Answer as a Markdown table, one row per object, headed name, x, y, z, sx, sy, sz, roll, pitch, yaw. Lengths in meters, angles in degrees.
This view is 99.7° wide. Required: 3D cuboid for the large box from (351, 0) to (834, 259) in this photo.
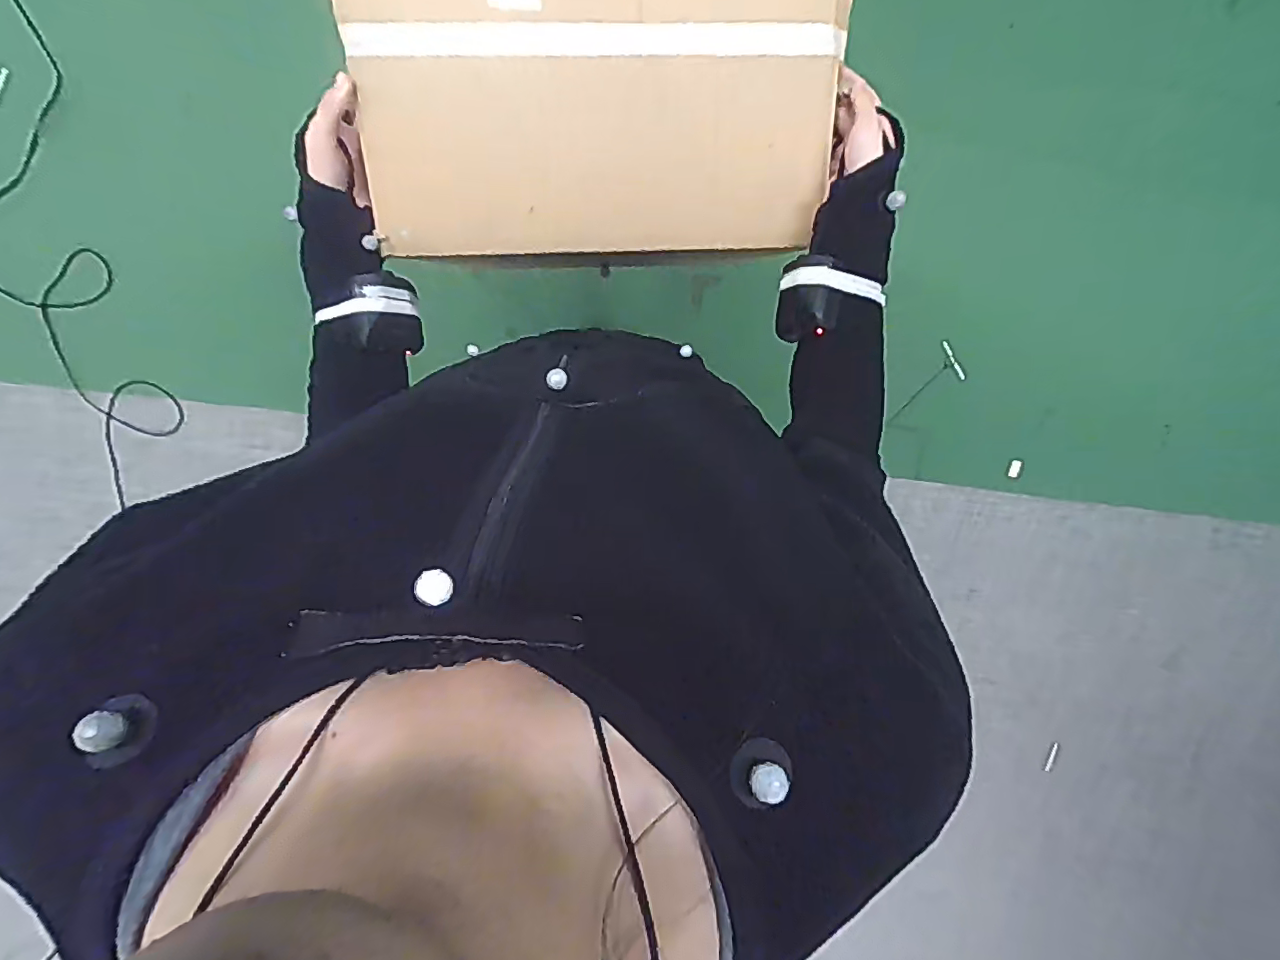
| name | x | y | z | sx | sy | sz | roll | pitch | yaw |
| --- | --- | --- | --- | --- | --- | --- | --- | --- | --- |
| large box | -0.043 | -0.416 | 0.593 | 0.408 | 0.320 | 0.320 | -2 | 110 | -4 |
